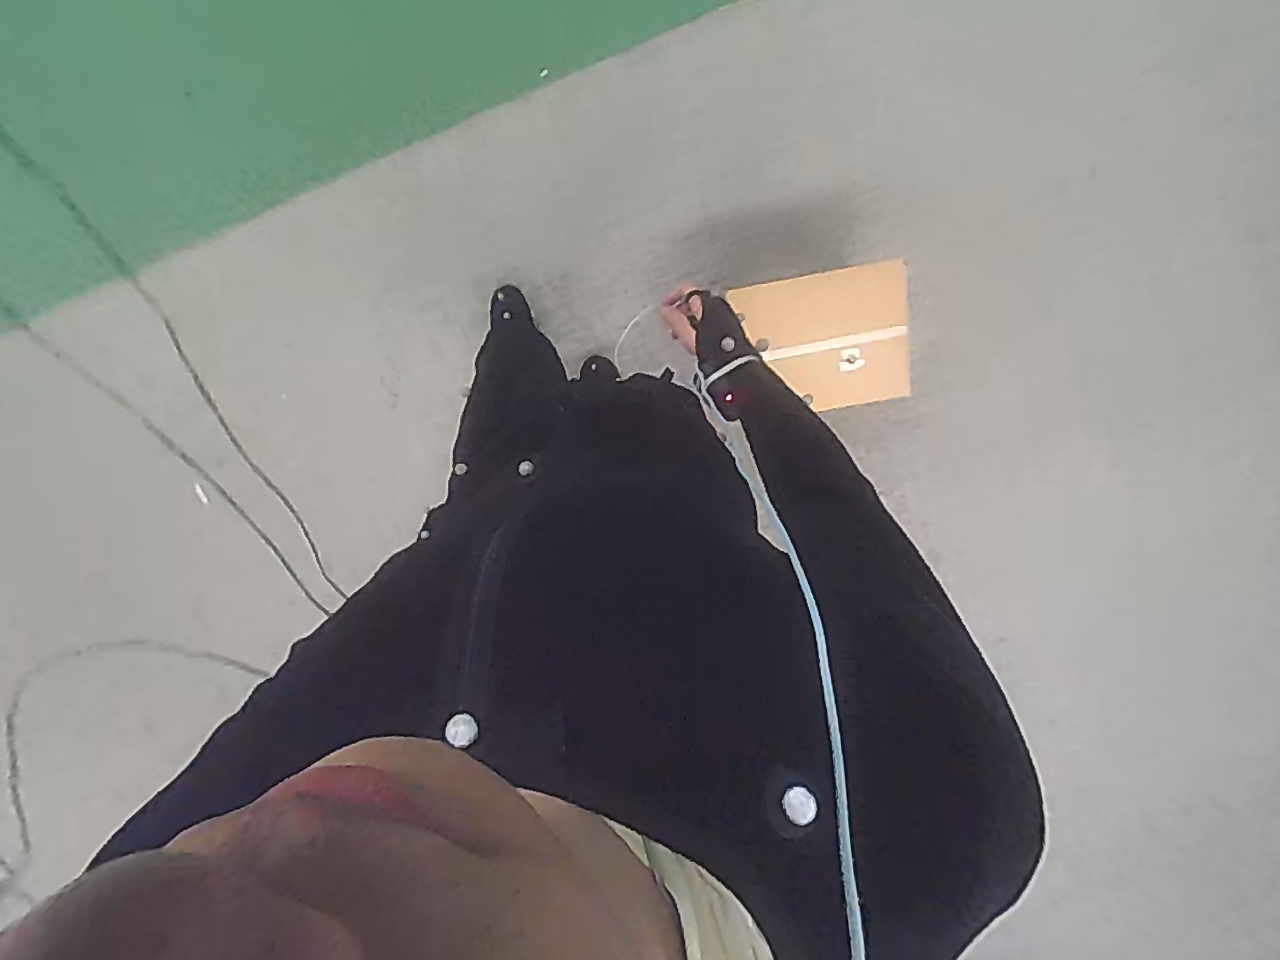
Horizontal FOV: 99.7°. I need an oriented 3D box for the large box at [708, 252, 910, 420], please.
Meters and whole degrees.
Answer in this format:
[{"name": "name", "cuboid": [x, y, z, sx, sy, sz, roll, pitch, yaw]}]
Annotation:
[{"name": "large box", "cuboid": [0.411, -0.364, 1.382, 0.408, 0.320, 0.320, -10, 108, 3]}]
